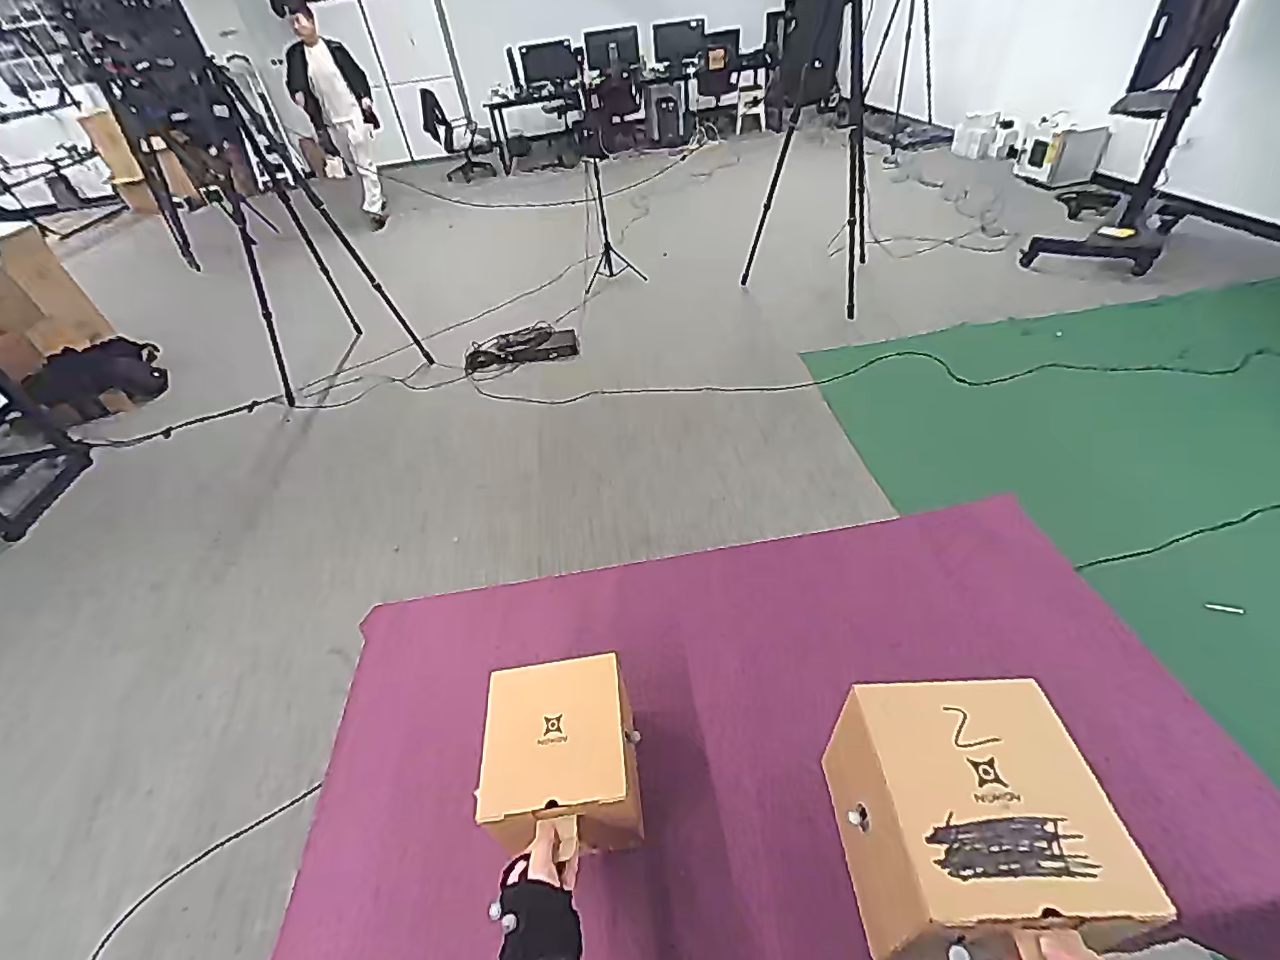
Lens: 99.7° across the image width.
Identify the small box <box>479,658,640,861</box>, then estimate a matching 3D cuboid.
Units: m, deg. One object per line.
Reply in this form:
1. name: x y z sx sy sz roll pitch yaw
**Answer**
1. small box: -0.096 0.362 0.705 0.168 0.176 0.179 -9 42 0
